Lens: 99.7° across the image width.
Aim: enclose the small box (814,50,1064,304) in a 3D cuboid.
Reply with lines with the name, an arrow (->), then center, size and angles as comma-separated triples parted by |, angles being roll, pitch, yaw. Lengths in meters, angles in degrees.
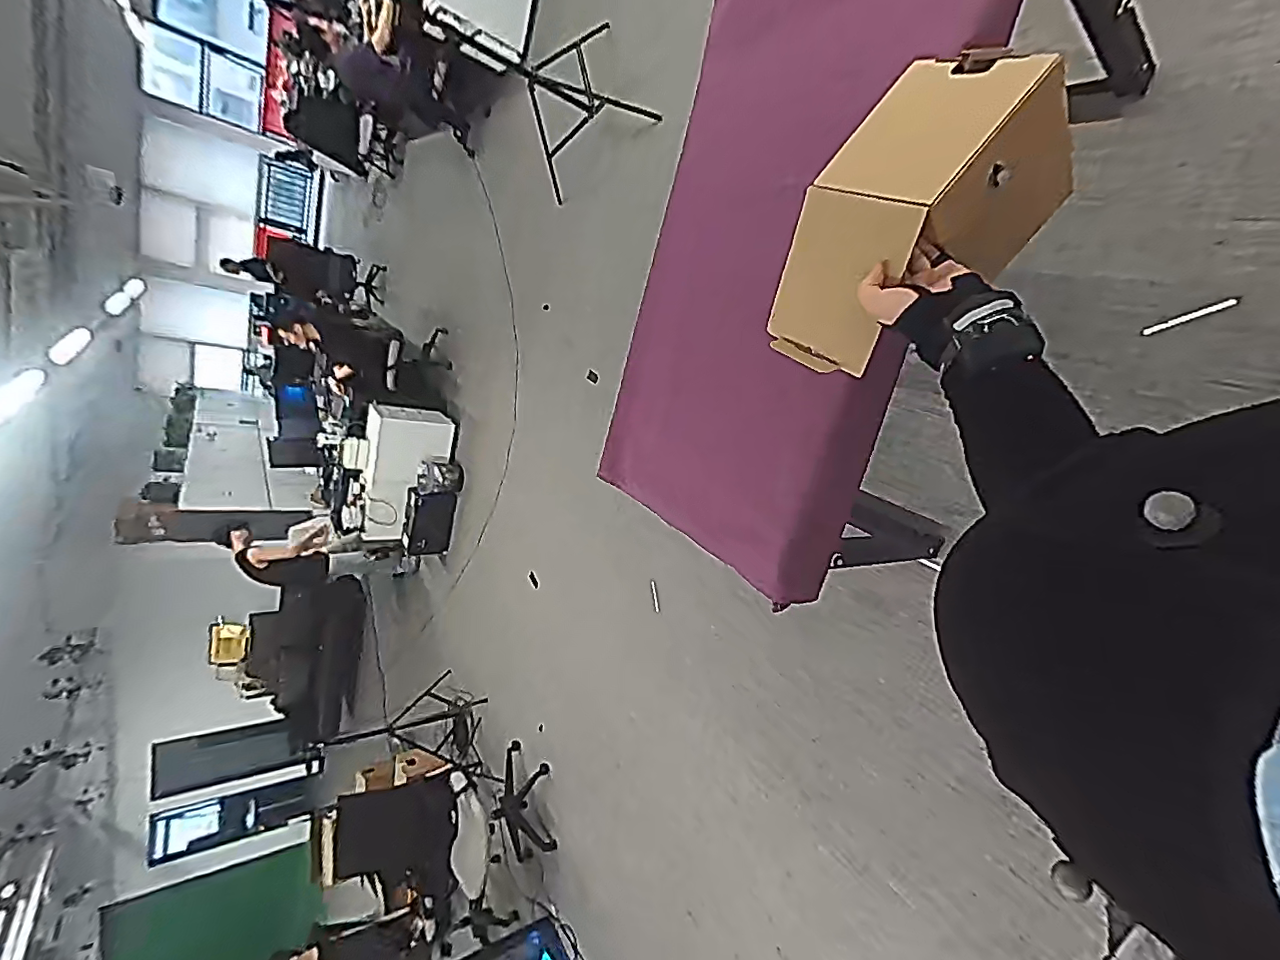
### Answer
small box -> 0.341, -0.333, 0.614 | 0.179, 0.176, 0.168 | -49, 43, 7
